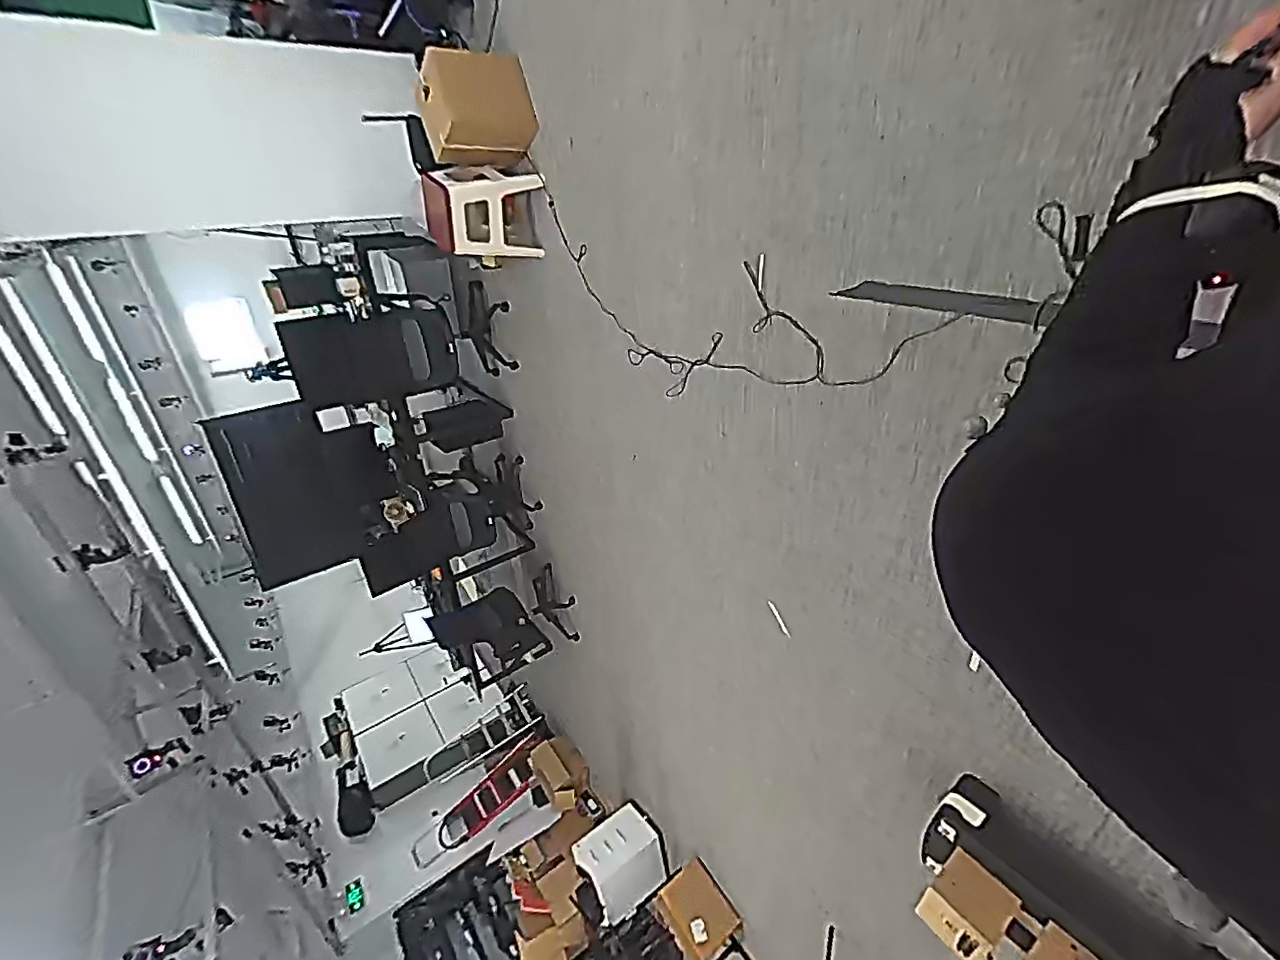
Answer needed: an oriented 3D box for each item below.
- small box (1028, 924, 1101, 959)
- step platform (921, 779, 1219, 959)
[{"bbox_3d":[1.068,1.276,1.347,0.168,0.176,0.179,31,134,44],"label":"small box"},{"bbox_3d":[1.157,1.206,1.504,0.684,0.204,0.286,30,133,45],"label":"step platform"}]
